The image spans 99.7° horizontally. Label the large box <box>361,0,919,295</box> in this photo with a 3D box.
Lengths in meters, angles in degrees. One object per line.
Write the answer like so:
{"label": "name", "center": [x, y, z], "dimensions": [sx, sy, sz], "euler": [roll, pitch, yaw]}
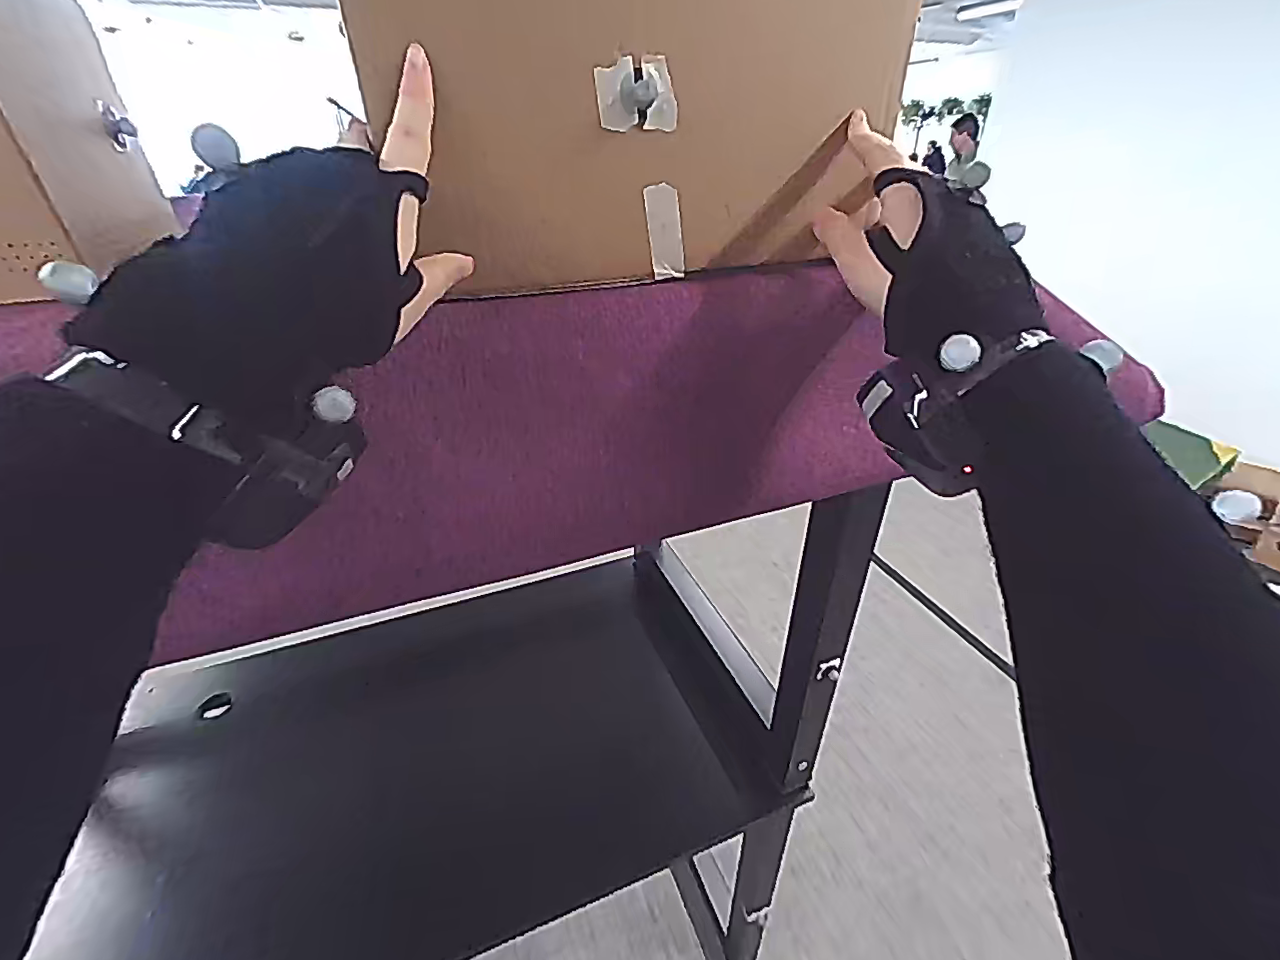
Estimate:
{"label": "large box", "center": [-0.045, -0.352, 0.419], "dimensions": [0.320, 0.320, 0.408], "euler": [-11, 32, -16]}
